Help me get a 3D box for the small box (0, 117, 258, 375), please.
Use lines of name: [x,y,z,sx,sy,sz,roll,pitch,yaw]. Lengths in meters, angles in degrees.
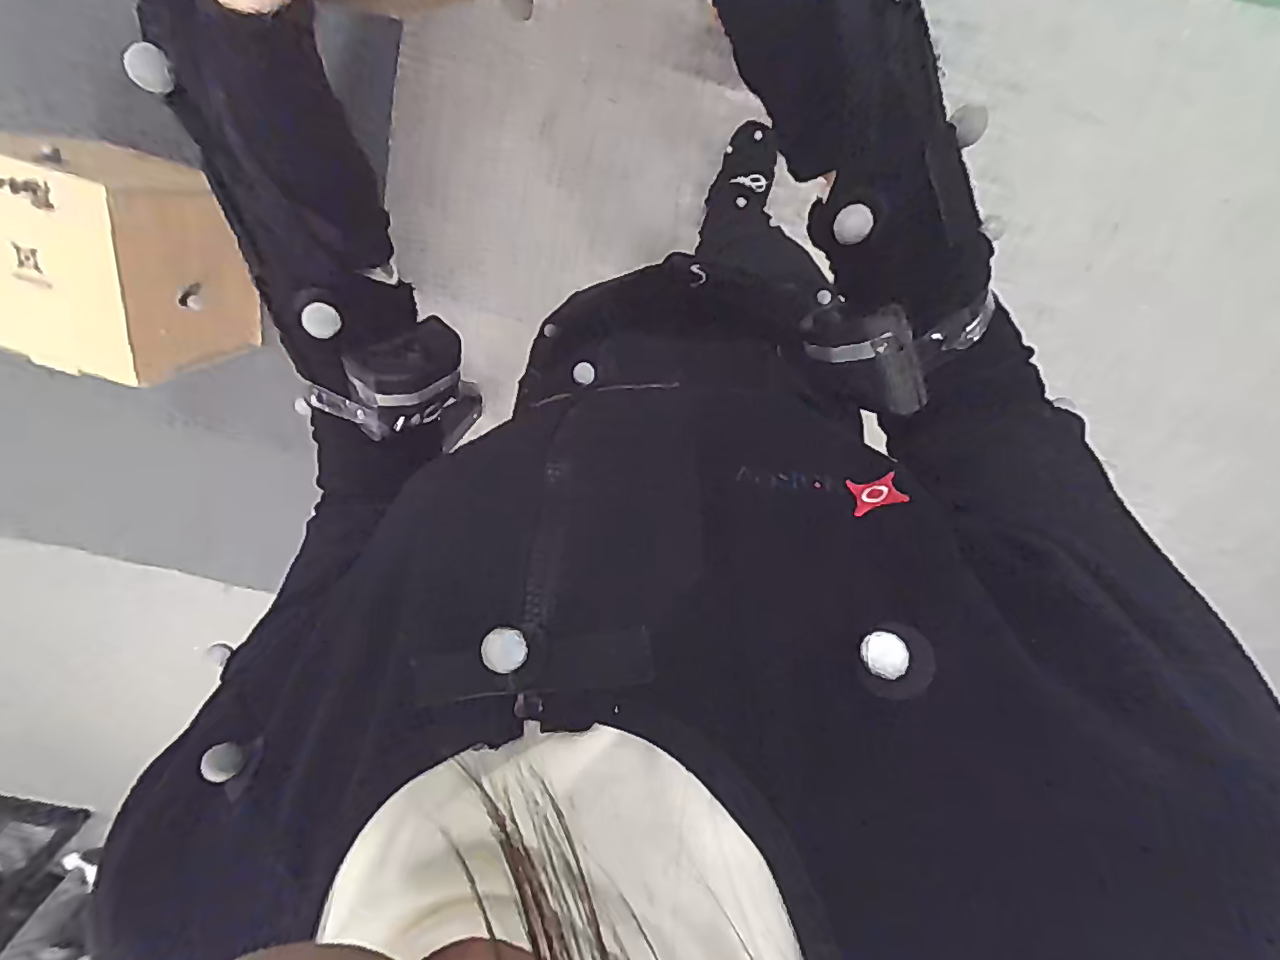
small box: [-0.514,-0.231,0.532,0.168,0.176,0.179,17,119,-3]
